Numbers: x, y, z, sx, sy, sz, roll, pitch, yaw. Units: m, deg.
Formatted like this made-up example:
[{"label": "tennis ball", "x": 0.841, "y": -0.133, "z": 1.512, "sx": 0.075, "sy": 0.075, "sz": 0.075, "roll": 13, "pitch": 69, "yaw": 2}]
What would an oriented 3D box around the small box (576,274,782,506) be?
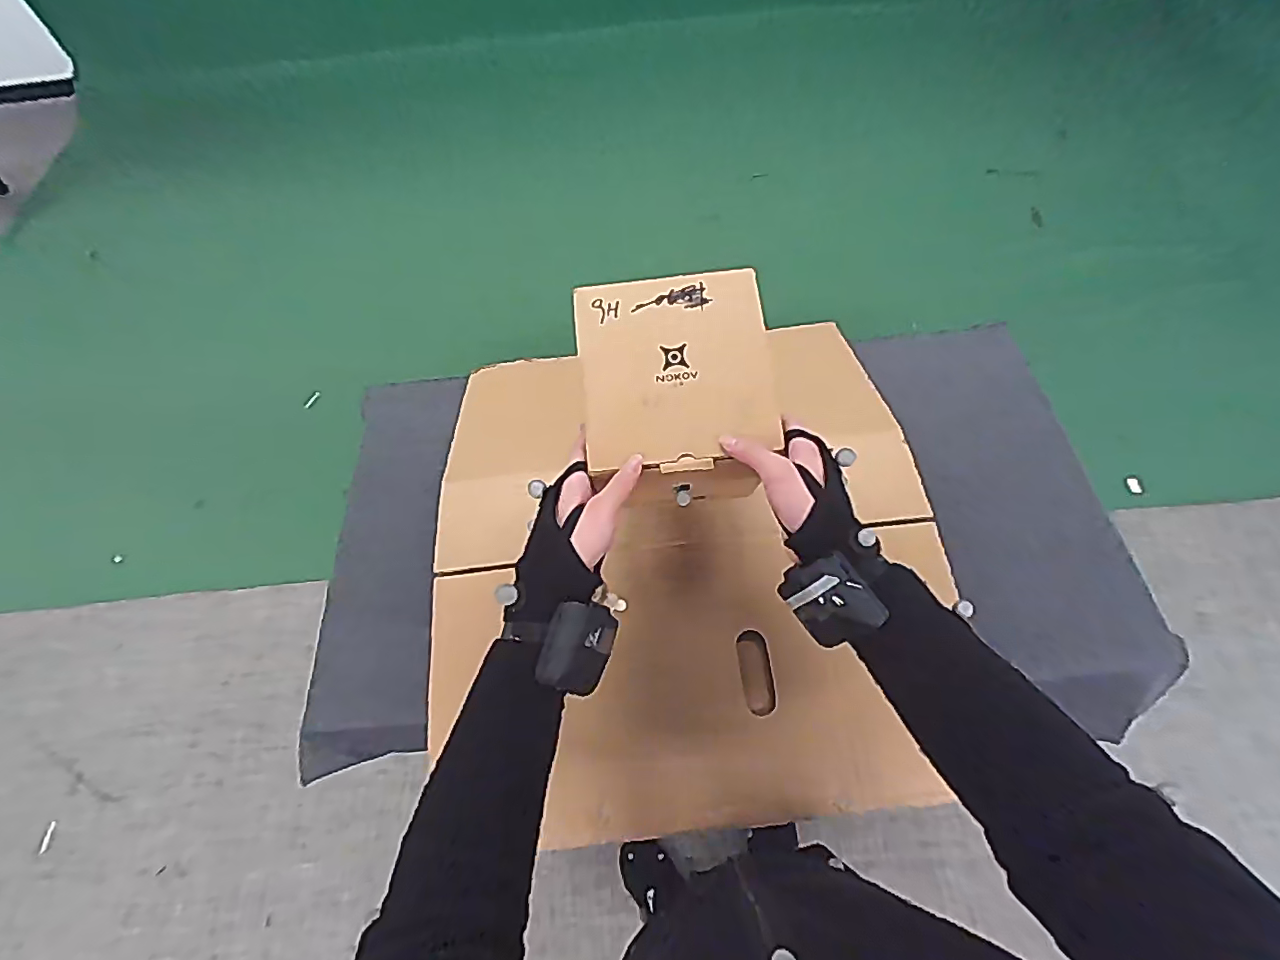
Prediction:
[{"label": "small box", "x": 0.036, "y": -0.076, "z": 0.555, "sx": 0.168, "sy": 0.176, "sz": 0.179, "roll": -8, "pitch": 75, "yaw": 1}]
